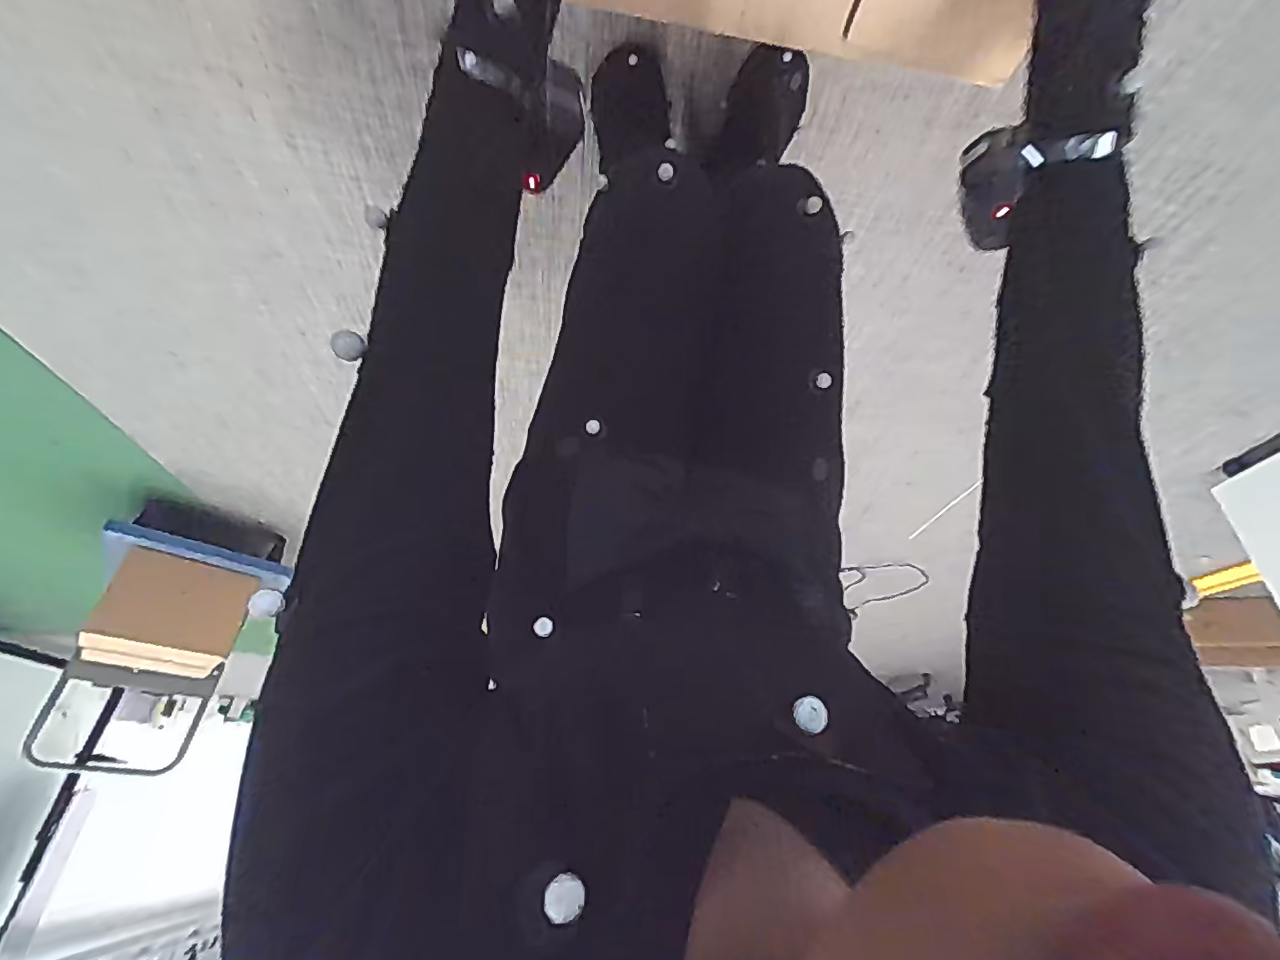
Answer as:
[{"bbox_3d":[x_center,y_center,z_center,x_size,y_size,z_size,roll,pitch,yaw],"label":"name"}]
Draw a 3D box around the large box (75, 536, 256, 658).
[{"bbox_3d":[-1.724,0.439,1.981,0.408,0.320,0.320,28,142,-35],"label":"large box"}]
